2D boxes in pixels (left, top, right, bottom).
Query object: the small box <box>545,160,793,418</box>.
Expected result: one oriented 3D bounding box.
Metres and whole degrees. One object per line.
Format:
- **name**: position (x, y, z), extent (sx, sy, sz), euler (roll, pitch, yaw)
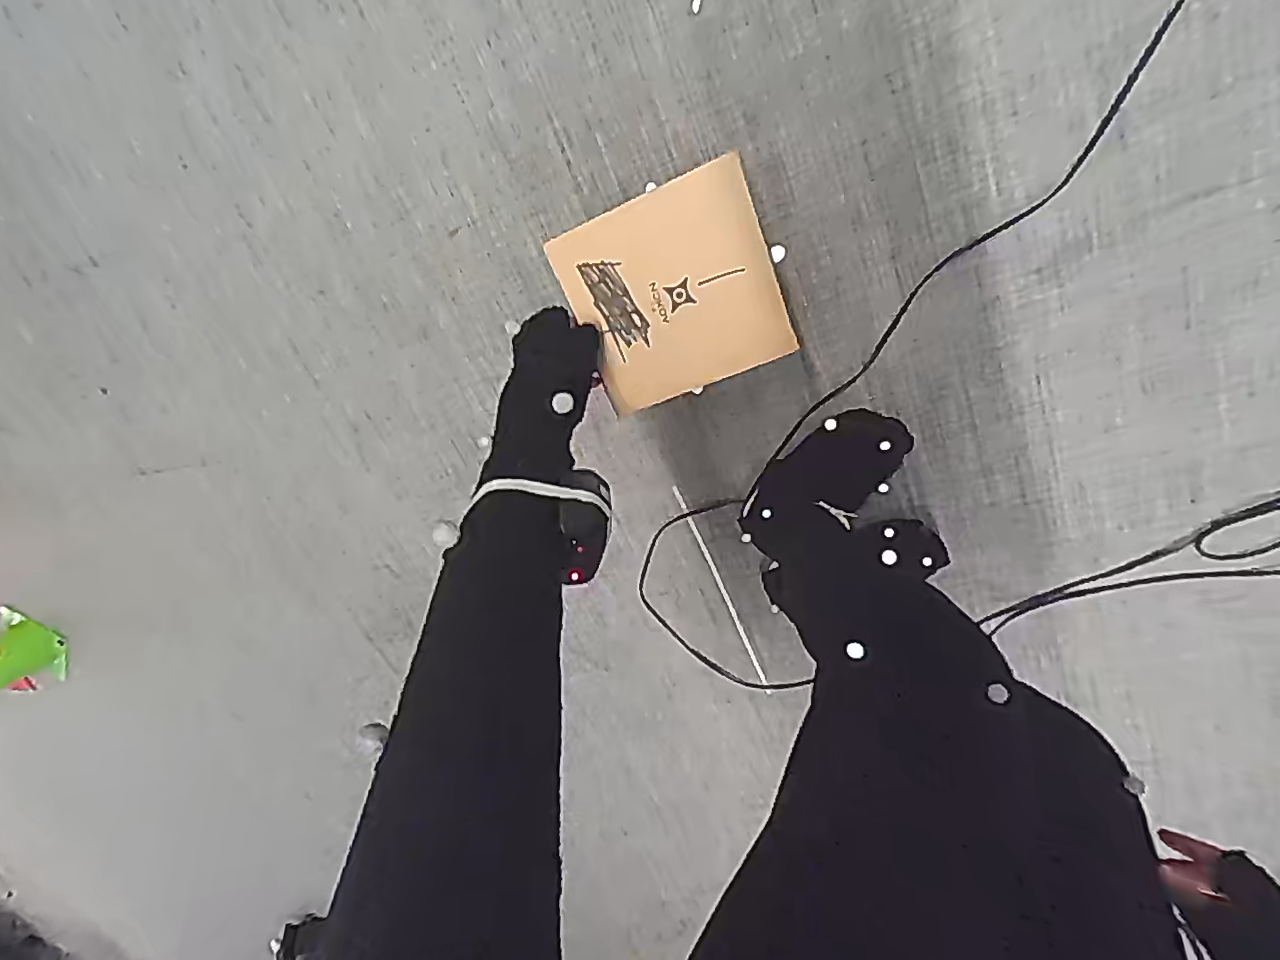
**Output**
- **small box**: position (0.039, -0.183, 0.537), extent (0.179, 0.176, 0.168), euler (-18, 109, 17)
